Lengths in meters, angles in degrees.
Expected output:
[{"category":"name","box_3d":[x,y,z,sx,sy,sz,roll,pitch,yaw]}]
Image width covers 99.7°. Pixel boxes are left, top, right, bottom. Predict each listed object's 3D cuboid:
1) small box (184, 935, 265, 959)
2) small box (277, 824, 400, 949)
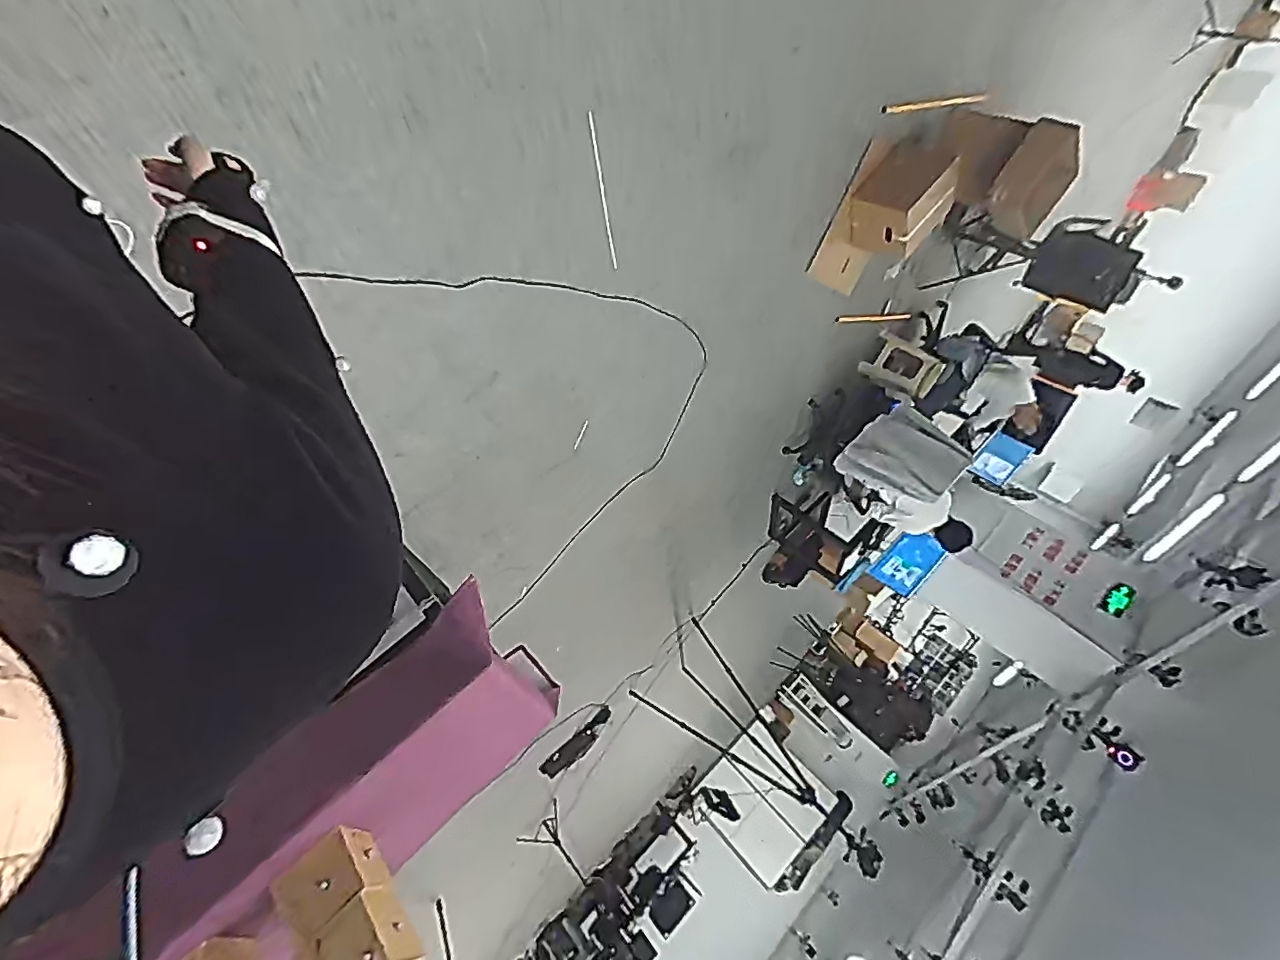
[{"category":"small box","box_3d":[-0.955,1.162,1.204,0.168,0.176,0.179,-37,145,-23]},{"category":"small box","box_3d":[-0.728,0.975,1.308,0.179,0.176,0.168,-38,146,-22]}]
